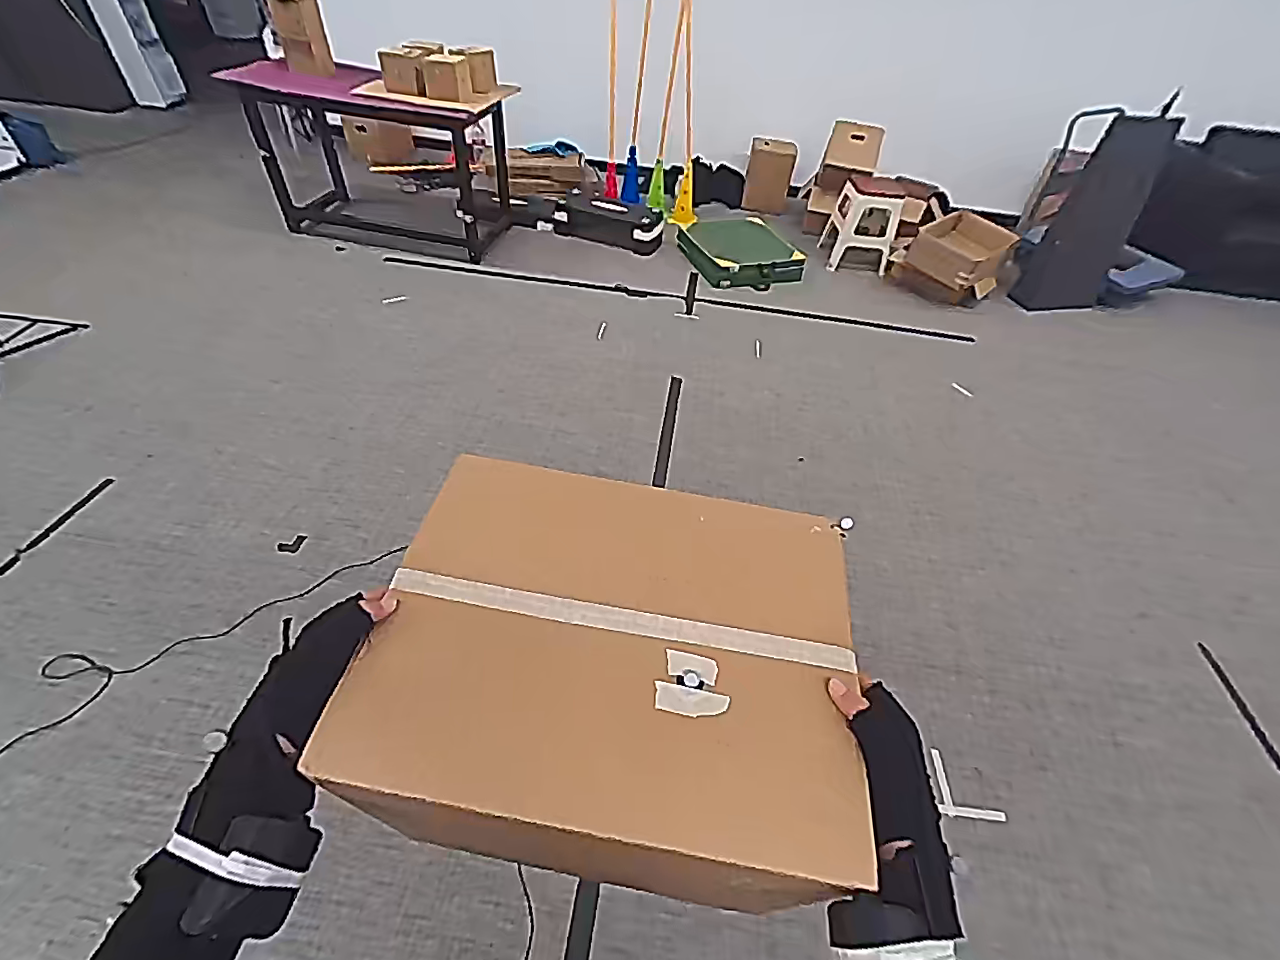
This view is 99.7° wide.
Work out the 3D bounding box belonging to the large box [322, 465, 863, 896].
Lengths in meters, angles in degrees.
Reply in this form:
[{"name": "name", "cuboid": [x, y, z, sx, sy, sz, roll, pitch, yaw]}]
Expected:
[{"name": "large box", "cuboid": [-0.030, 0.223, 0.593, 0.408, 0.320, 0.320, 10, 50, 2]}]
